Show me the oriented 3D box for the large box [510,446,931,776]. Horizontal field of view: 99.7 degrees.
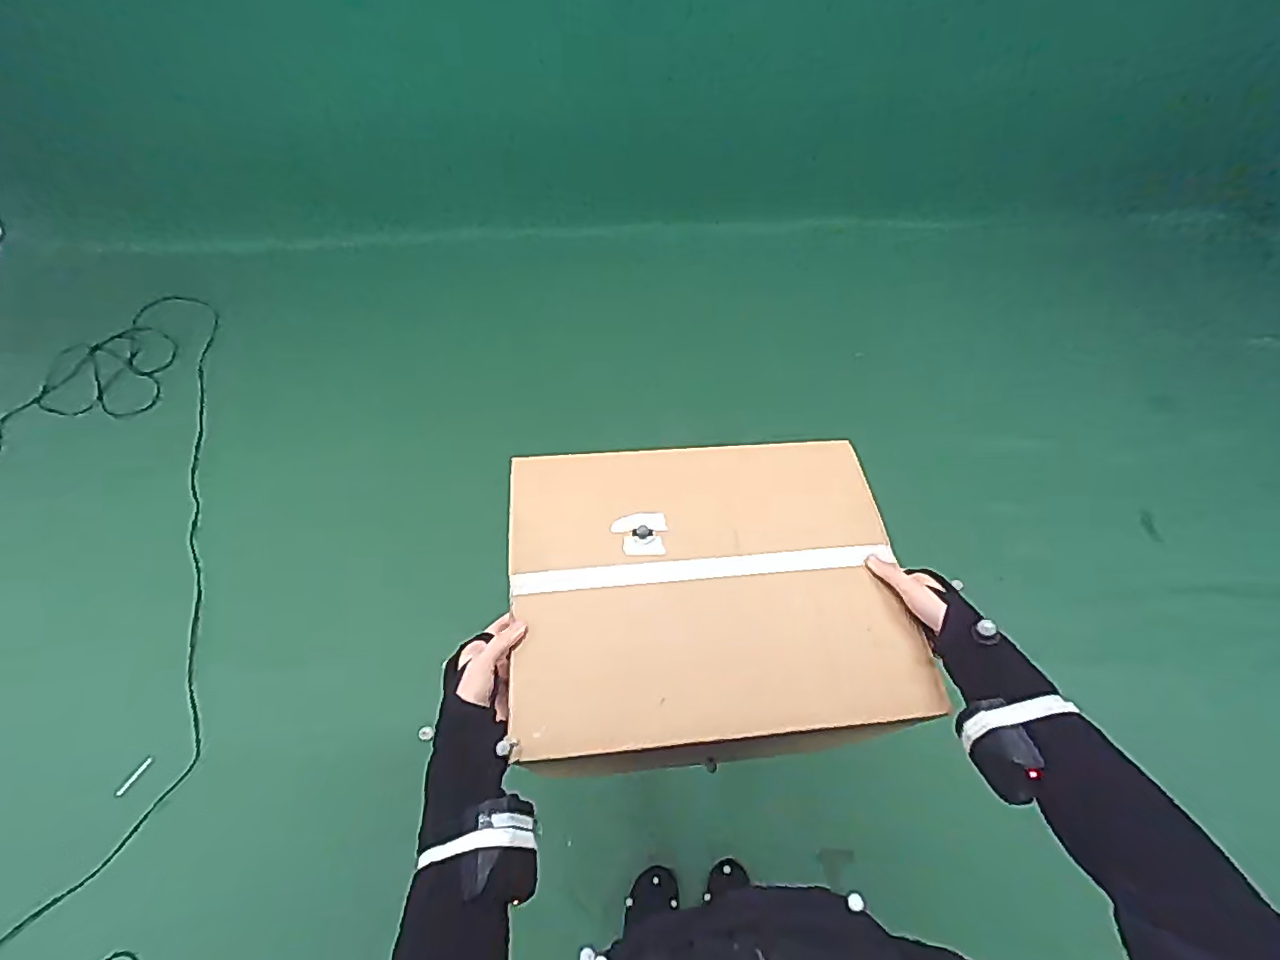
[{"bbox_3d":[0.061,0.180,0.696,0.408,0.320,0.320,-4,58,-5],"label":"large box"}]
